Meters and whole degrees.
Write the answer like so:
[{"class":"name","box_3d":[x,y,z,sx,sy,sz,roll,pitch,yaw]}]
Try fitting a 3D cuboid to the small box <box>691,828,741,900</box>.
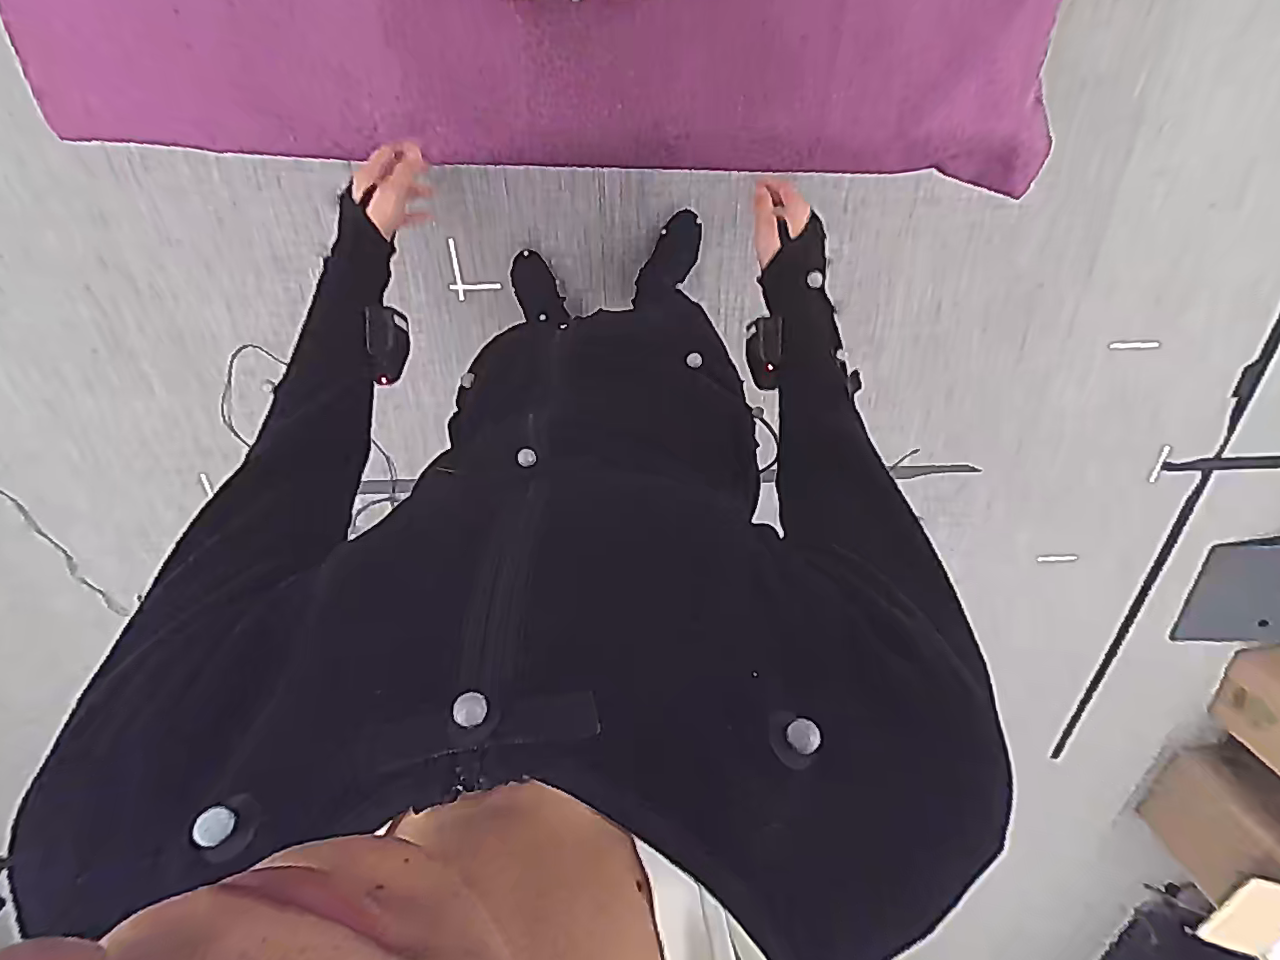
[{"class":"small box","box_3d":[0.295,1.515,2.137,0.168,0.176,0.179,-4,118,-3]}]
